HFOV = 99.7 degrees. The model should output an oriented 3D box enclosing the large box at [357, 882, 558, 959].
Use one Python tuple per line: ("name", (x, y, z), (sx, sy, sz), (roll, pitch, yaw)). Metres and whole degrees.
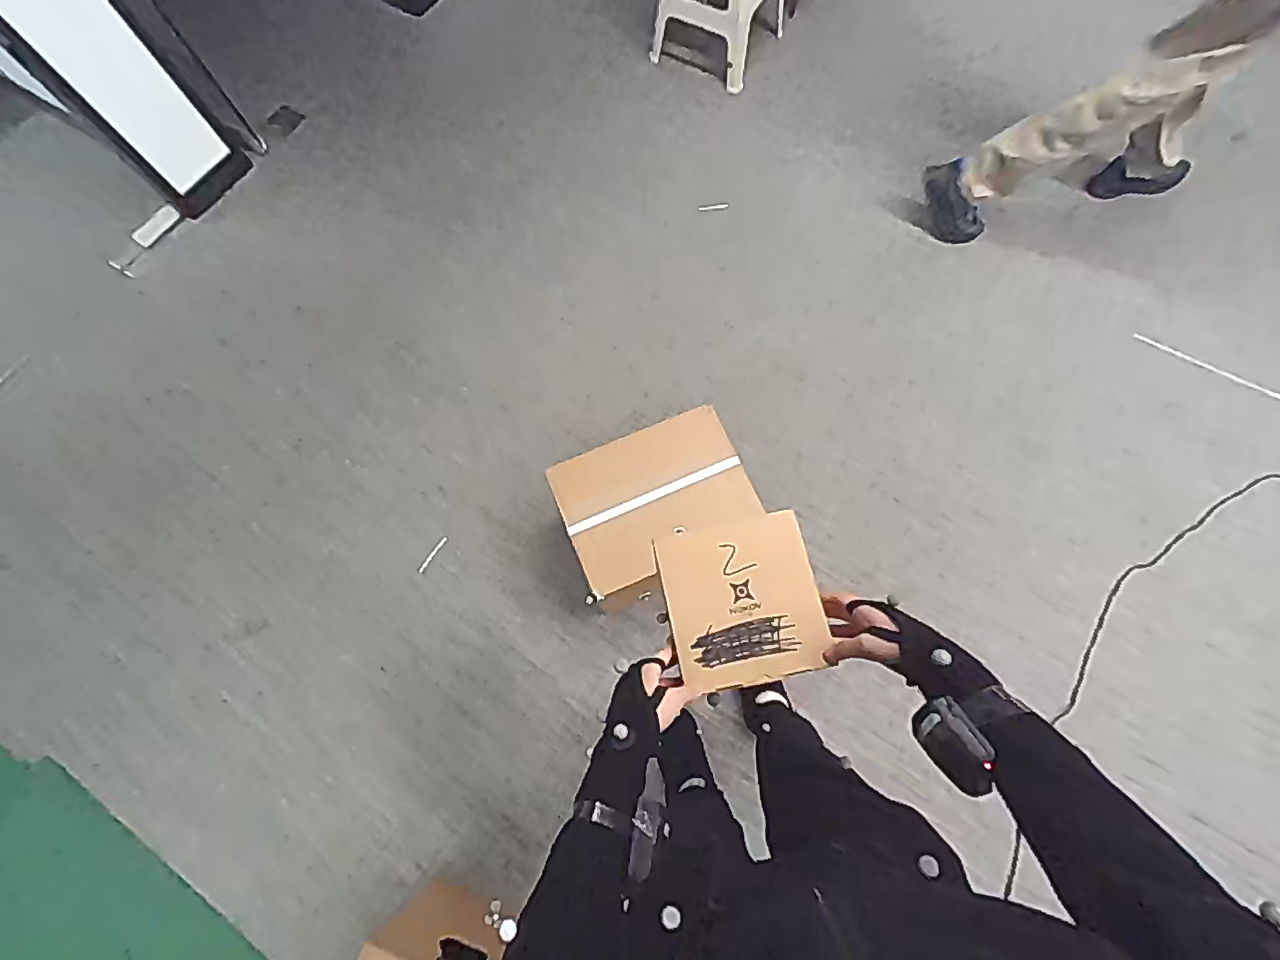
("large box", (-0.377, 1.054, 0.977), (0.320, 0.320, 0.408), (17, 73, 9))
